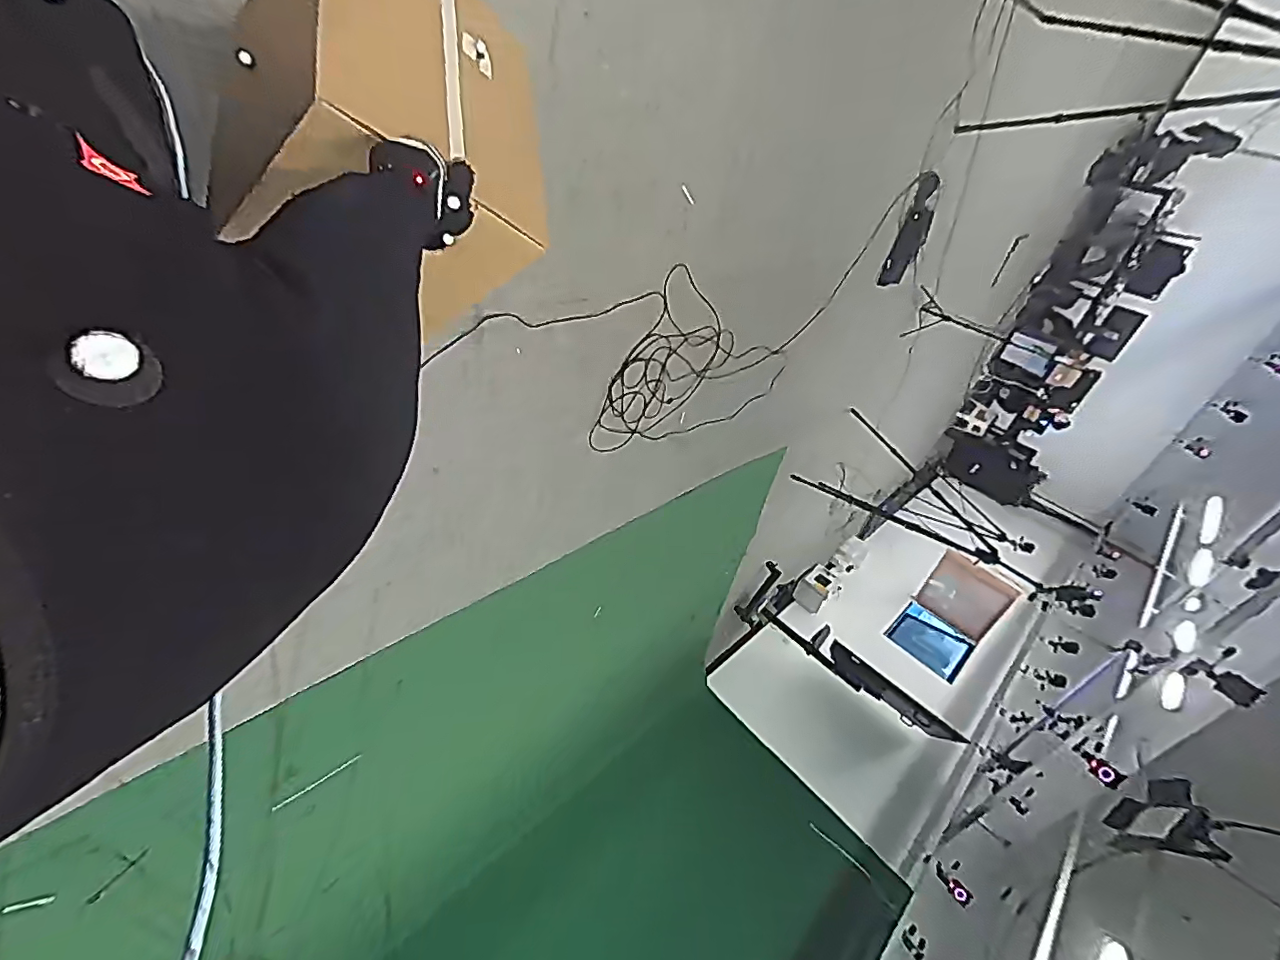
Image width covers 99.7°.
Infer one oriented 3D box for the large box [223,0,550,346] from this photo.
[{"bbox_3d":[-0.369,-0.476,0.792,0.320,0.408,0.320,-21,160,32],"label":"large box"}]
